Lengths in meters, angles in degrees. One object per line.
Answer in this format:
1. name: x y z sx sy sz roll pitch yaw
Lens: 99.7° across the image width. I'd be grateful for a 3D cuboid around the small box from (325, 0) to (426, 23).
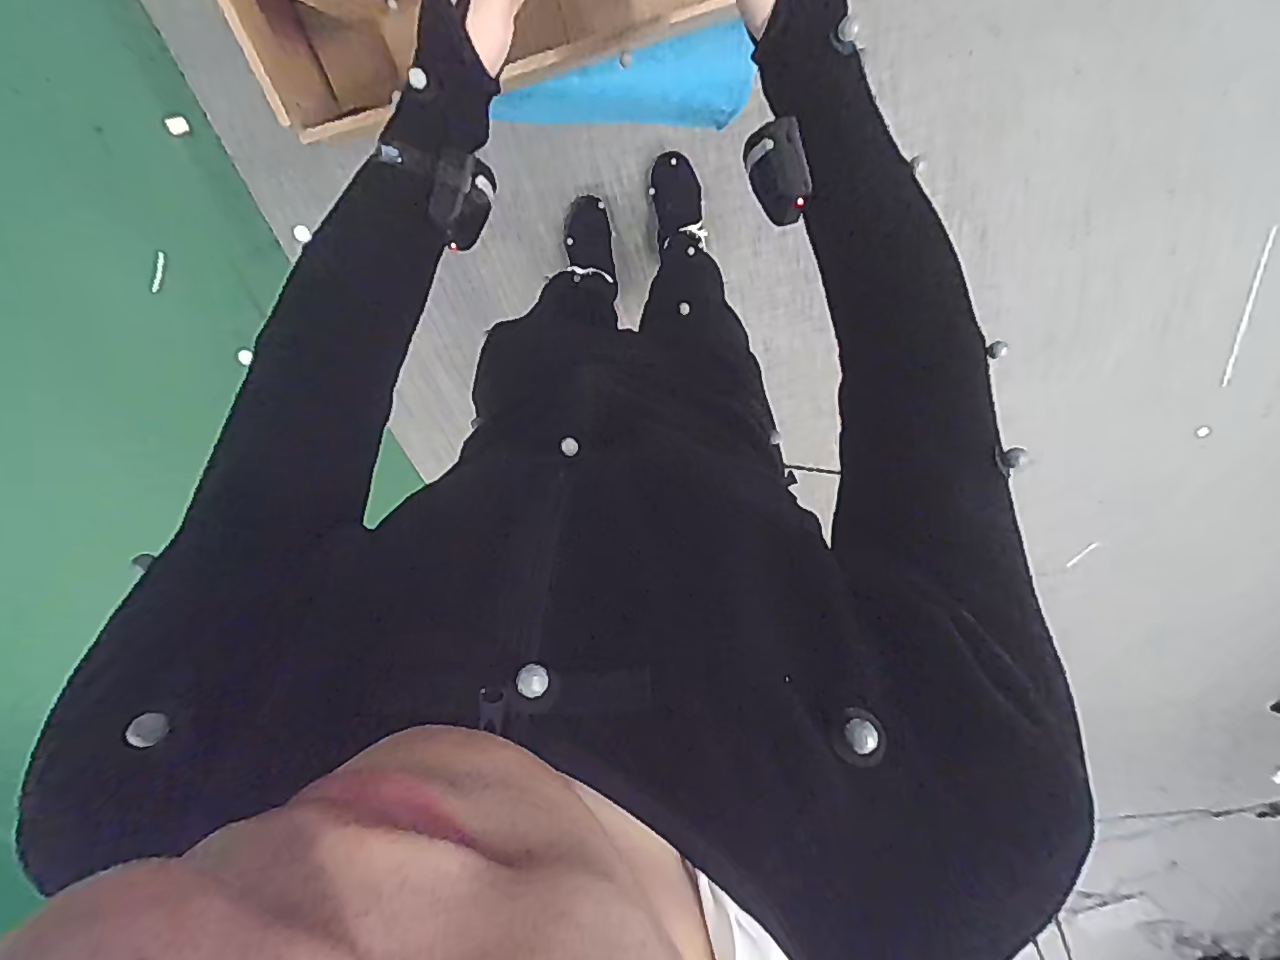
1. small box: -0.284 -0.593 0.528 0.168 0.176 0.179 -15 122 7
